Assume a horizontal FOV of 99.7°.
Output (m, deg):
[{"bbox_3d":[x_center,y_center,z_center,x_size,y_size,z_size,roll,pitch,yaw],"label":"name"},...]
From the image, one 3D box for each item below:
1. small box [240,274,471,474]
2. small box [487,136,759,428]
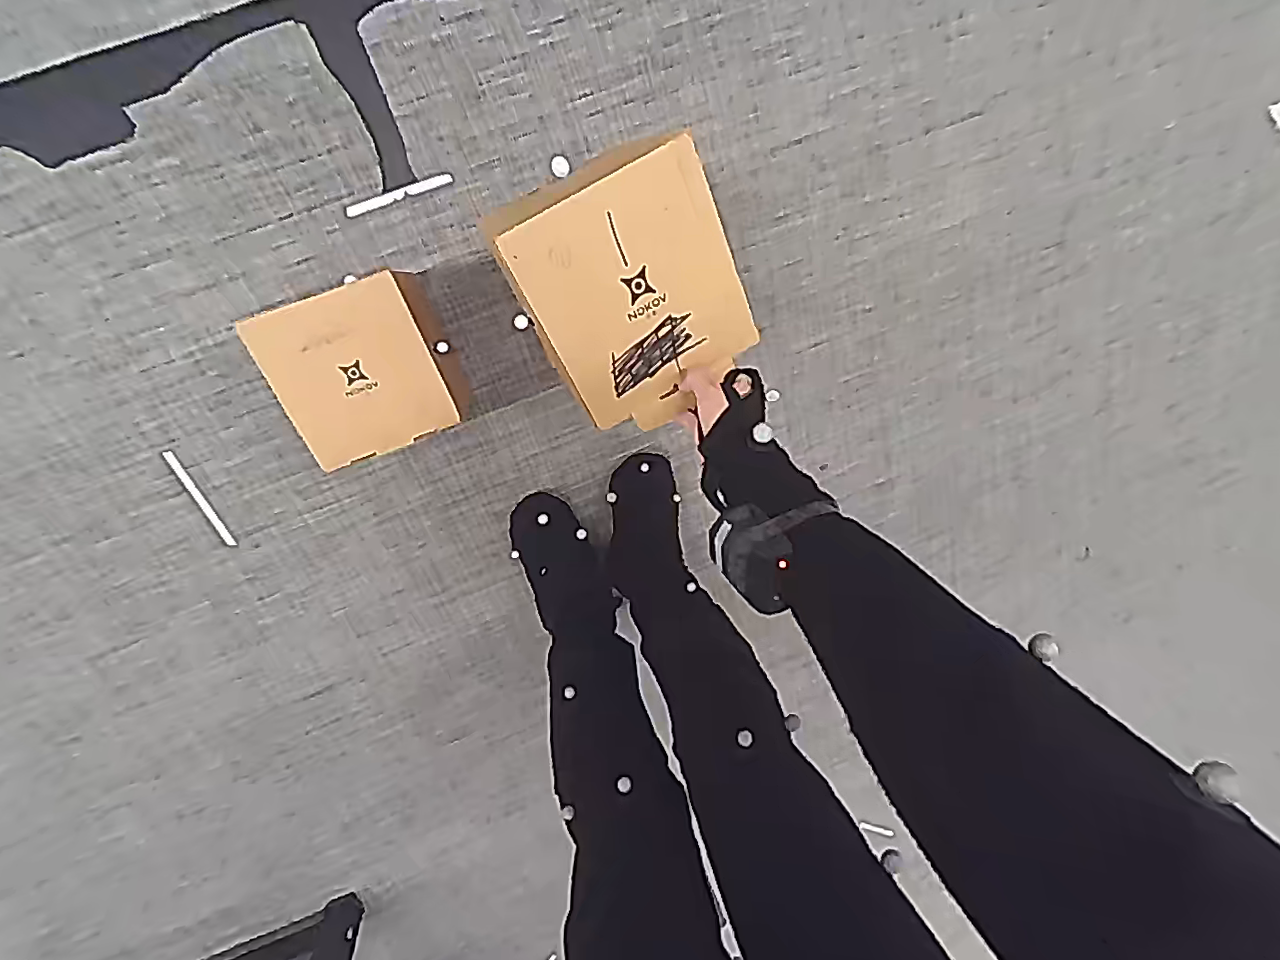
[{"bbox_3d":[-0.316,-0.136,0.652,0.168,0.176,0.179,-23,112,-6],"label":"small box"},{"bbox_3d":[-0.021,-0.183,0.494,0.168,0.176,0.179,-30,124,-3],"label":"small box"}]
